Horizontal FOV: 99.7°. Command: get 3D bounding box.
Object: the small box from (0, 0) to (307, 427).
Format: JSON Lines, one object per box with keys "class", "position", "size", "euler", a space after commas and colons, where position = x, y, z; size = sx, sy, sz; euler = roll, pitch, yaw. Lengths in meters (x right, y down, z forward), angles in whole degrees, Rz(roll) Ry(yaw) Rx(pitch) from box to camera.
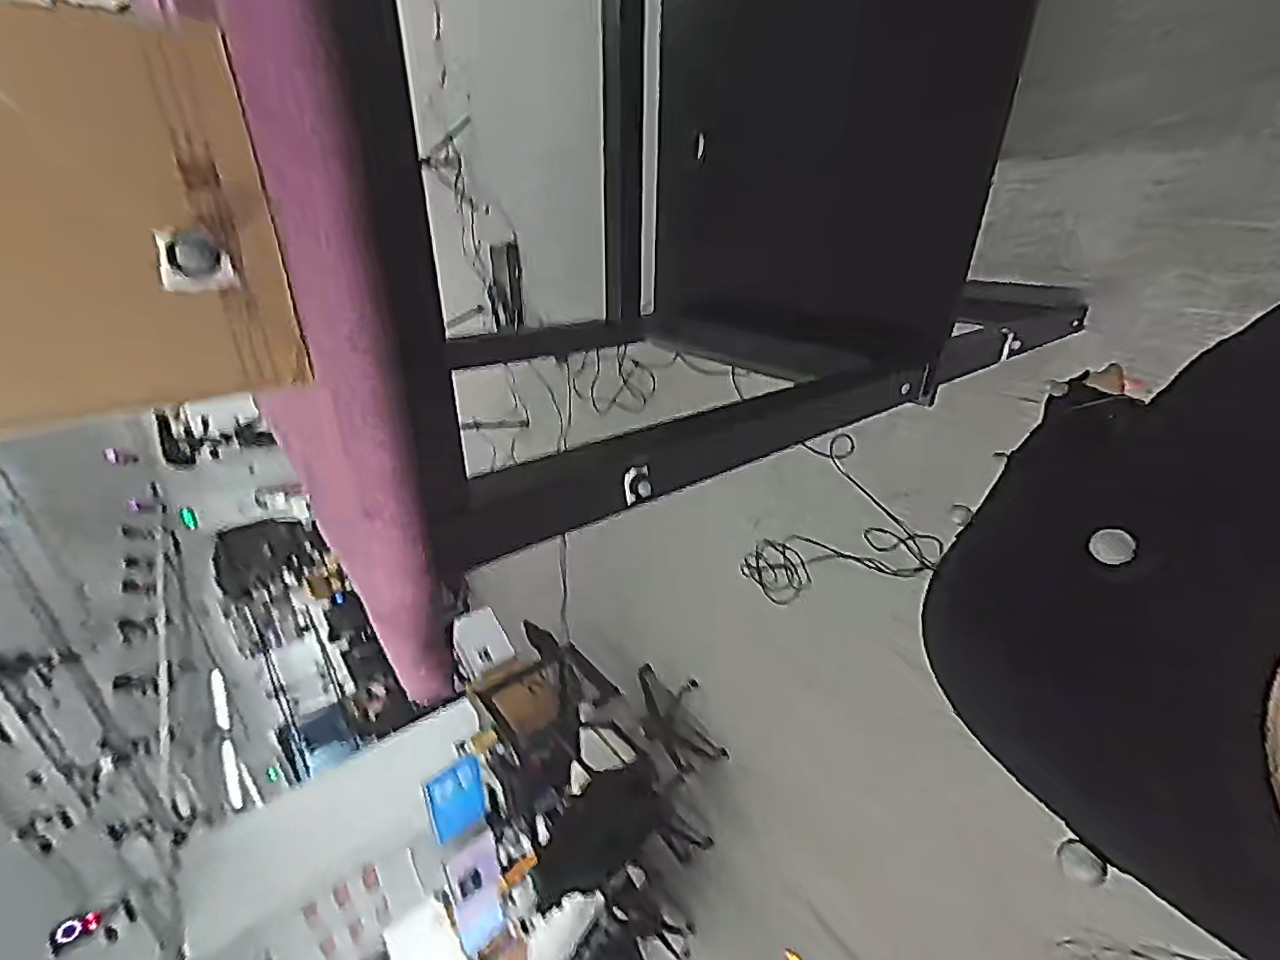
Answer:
{"class": "small box", "position": [-0.302, -0.131, 0.291], "size": [0.179, 0.176, 0.168], "euler": [23, 125, 46]}
